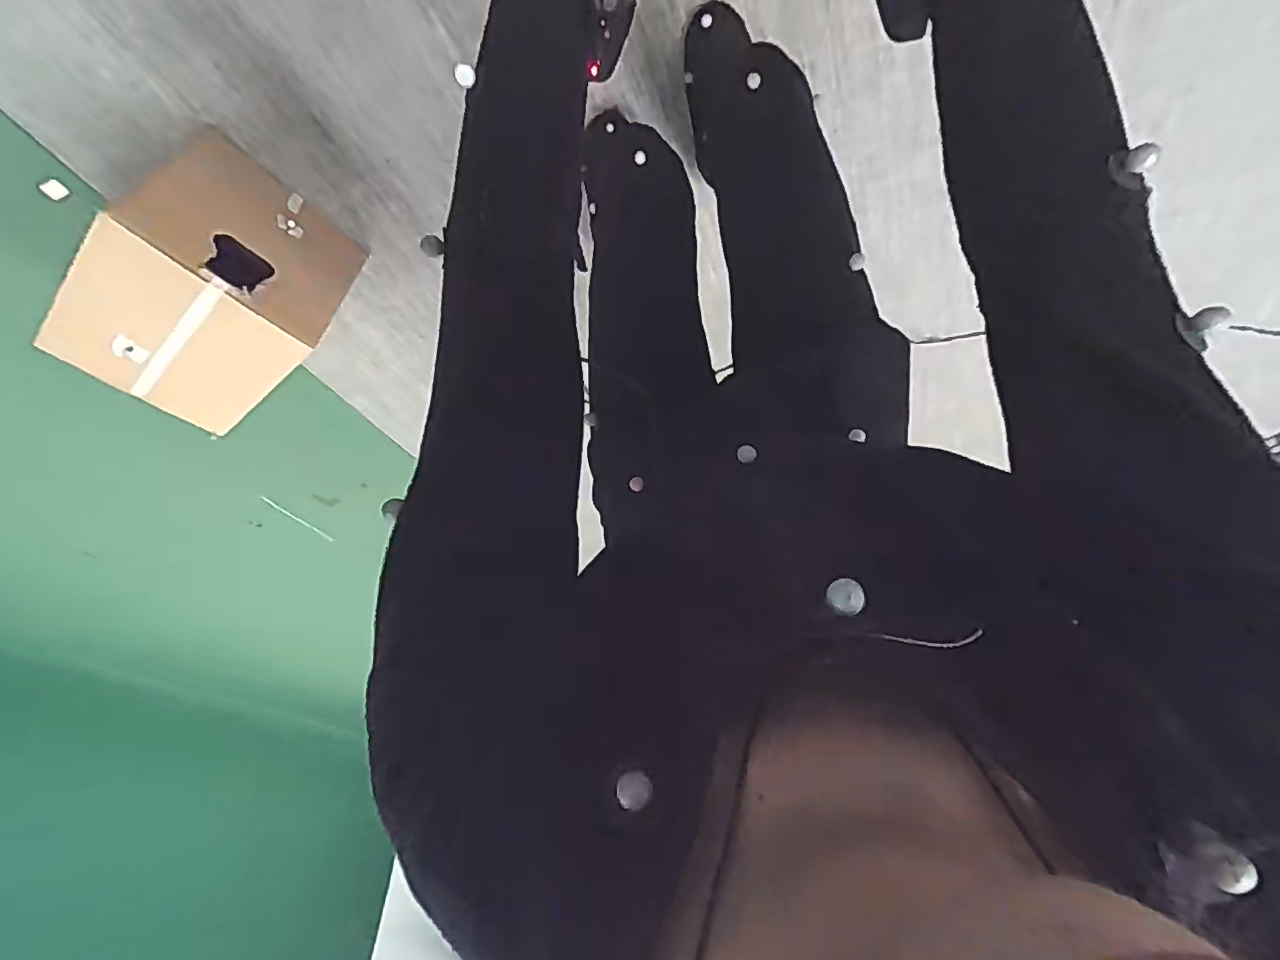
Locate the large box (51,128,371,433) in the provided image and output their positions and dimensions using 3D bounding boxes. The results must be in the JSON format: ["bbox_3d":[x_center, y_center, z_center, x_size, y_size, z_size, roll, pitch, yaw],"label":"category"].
[{"bbox_3d":[-0.806,-0.362,1.049,0.408,0.320,0.320,-23,135,31],"label":"large box"}]
